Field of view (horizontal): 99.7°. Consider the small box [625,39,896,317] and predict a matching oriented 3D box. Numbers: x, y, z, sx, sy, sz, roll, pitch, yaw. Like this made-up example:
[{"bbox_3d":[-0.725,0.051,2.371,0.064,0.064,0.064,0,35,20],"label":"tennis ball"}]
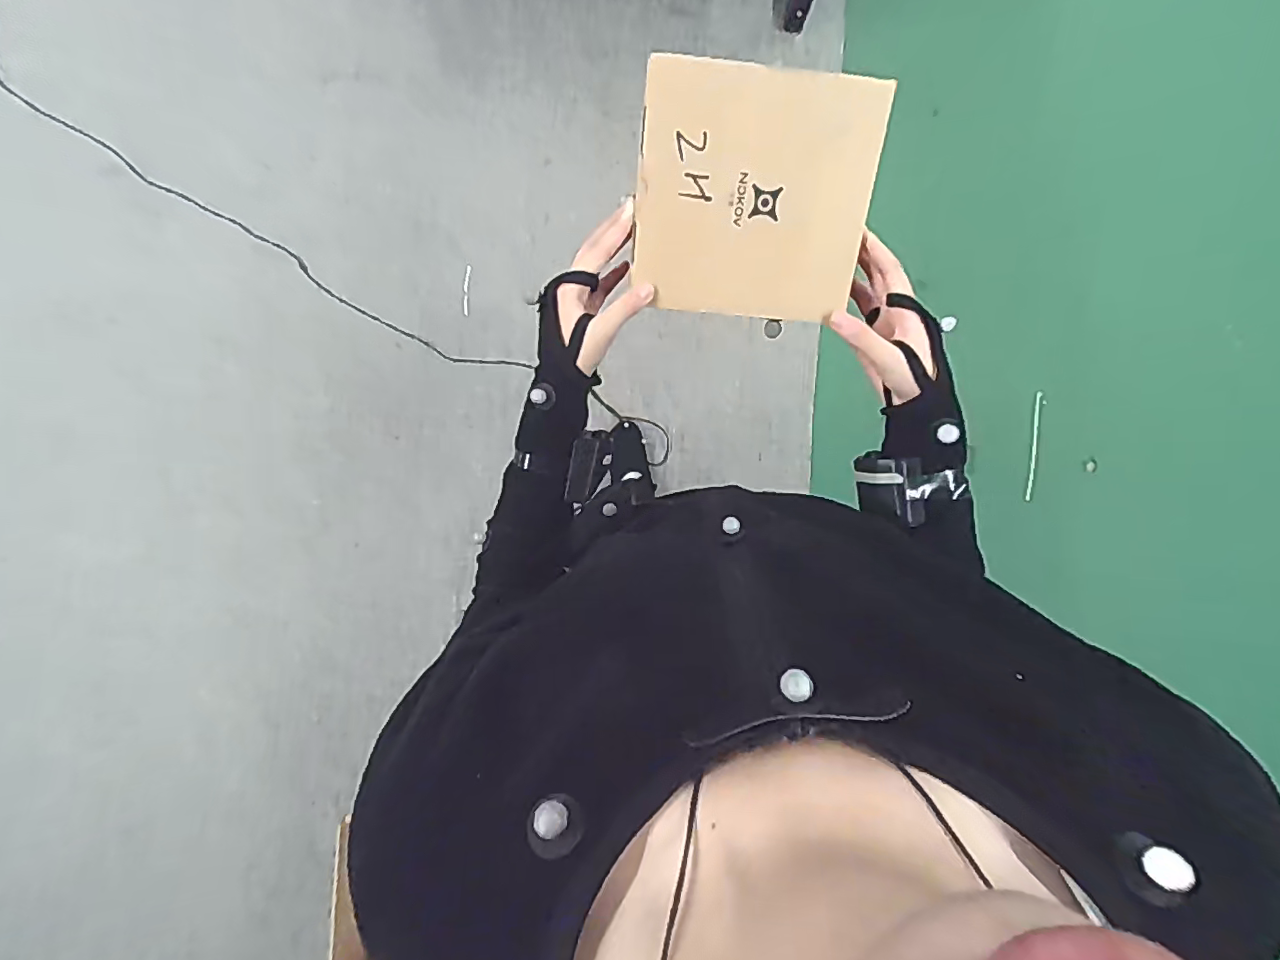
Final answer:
[{"bbox_3d":[0.082,-0.242,0.470,0.179,0.176,0.168,5,111,-2],"label":"small box"}]
